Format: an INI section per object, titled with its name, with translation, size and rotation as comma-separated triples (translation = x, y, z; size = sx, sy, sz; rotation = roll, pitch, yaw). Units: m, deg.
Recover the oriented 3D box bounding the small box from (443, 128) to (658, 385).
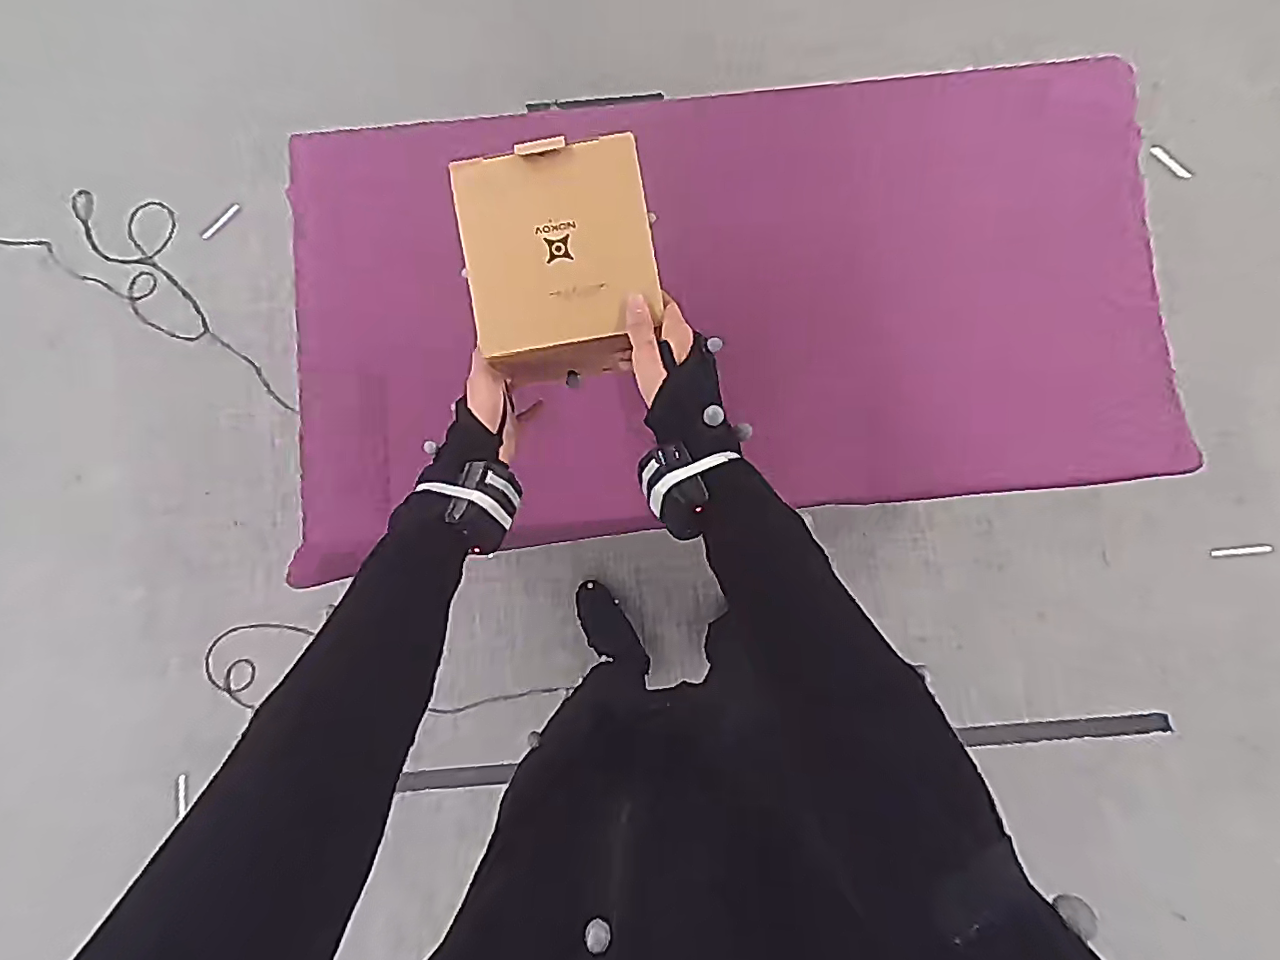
[small box]
translation = -0.078, -0.205, 0.541
size = 0.168, 0.176, 0.179
rotation = -9, 90, 0
